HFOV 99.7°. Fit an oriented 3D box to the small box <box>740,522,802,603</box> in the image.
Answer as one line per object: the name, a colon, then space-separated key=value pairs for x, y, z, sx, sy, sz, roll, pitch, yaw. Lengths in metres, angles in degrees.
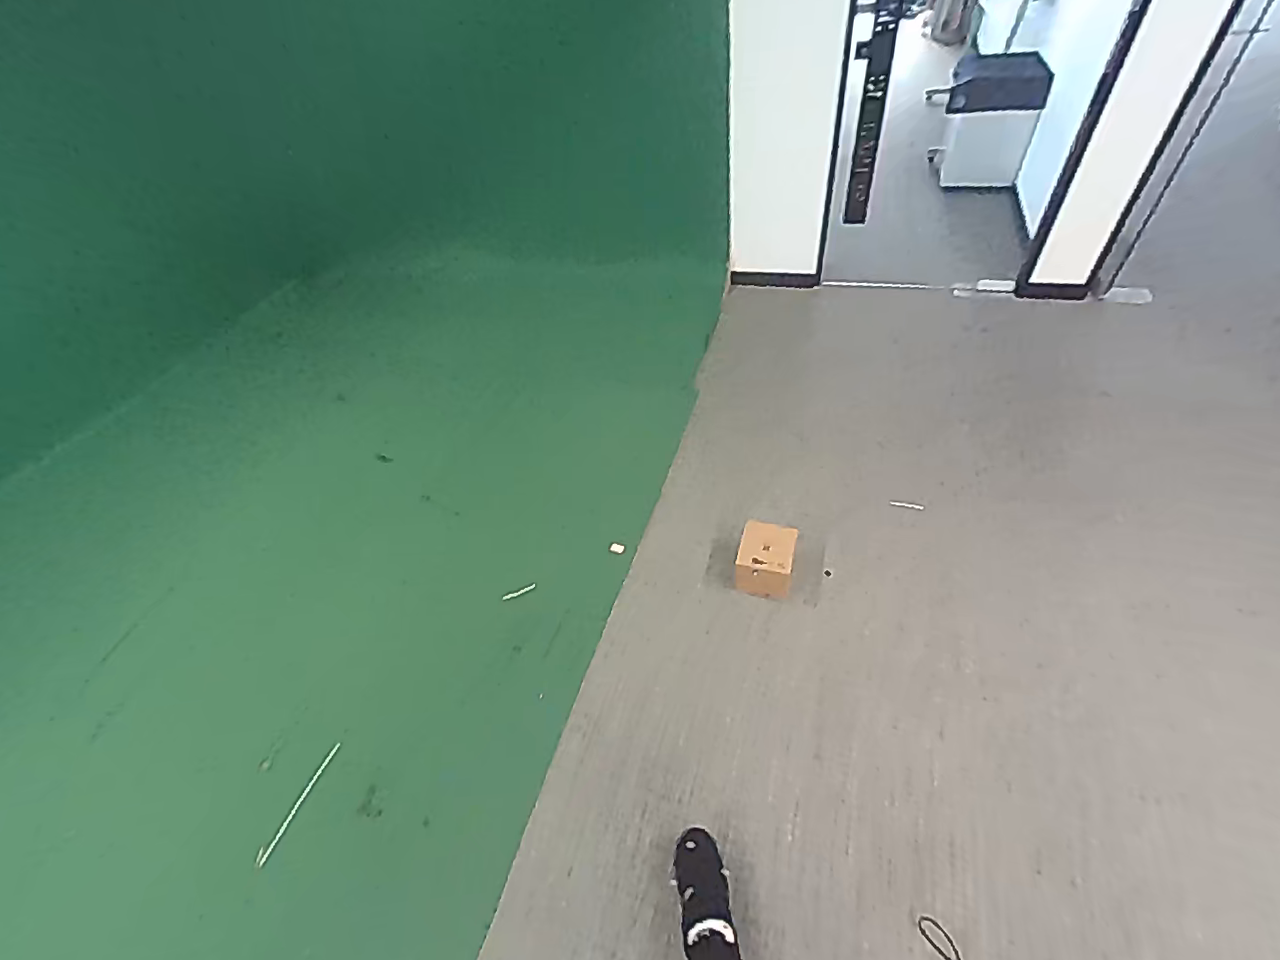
small box: x=0.420 y=0.266 z=1.742 sx=0.168 sy=0.176 sz=0.179 roll=9 pitch=50 yaw=19
